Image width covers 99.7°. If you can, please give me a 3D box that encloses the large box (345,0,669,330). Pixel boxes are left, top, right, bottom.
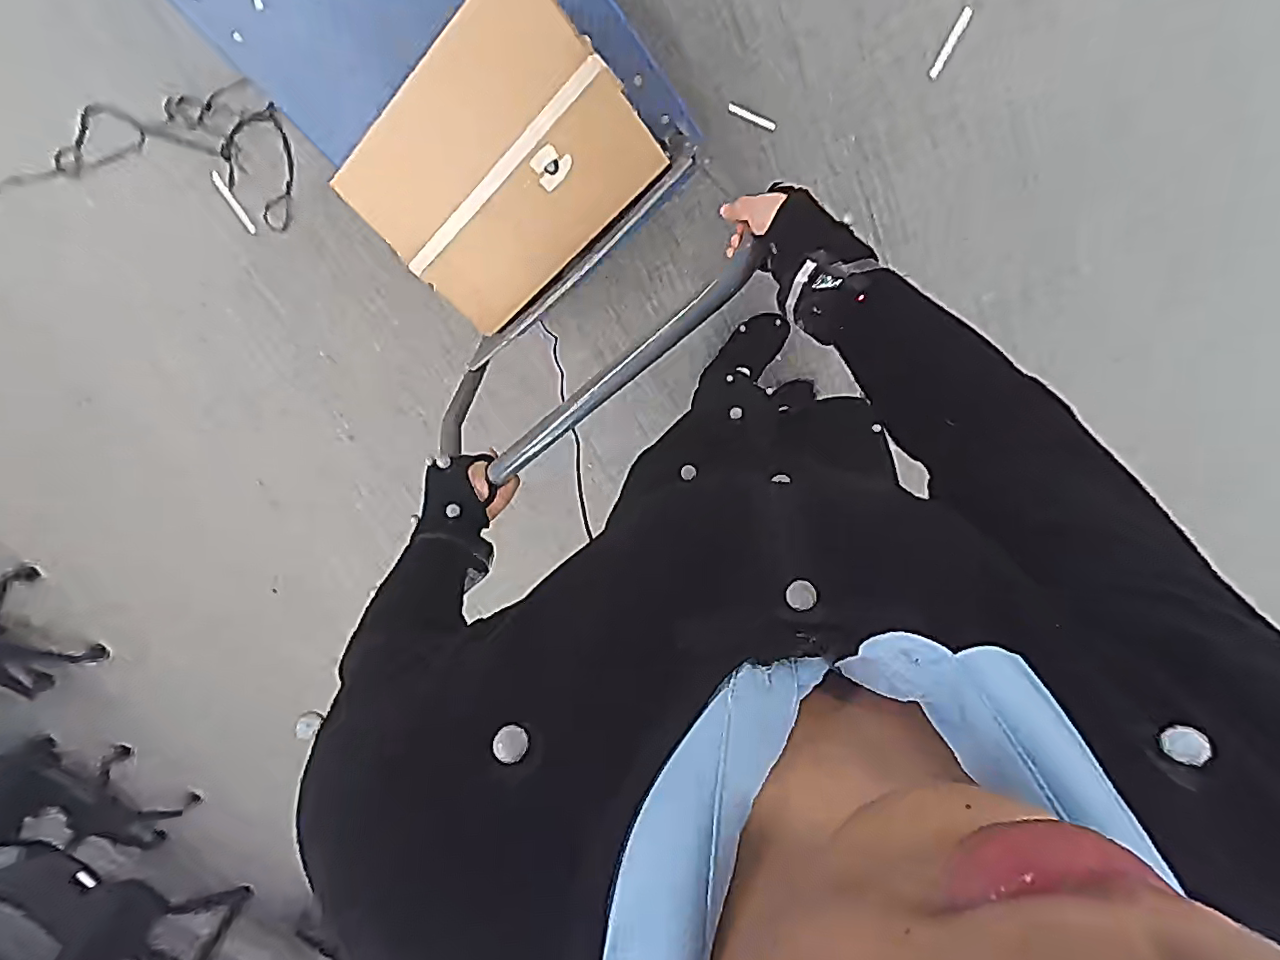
[{"bbox_3d":[-0.202,-0.541,0.929,0.408,0.320,0.320,-37,116,20],"label":"large box"}]
